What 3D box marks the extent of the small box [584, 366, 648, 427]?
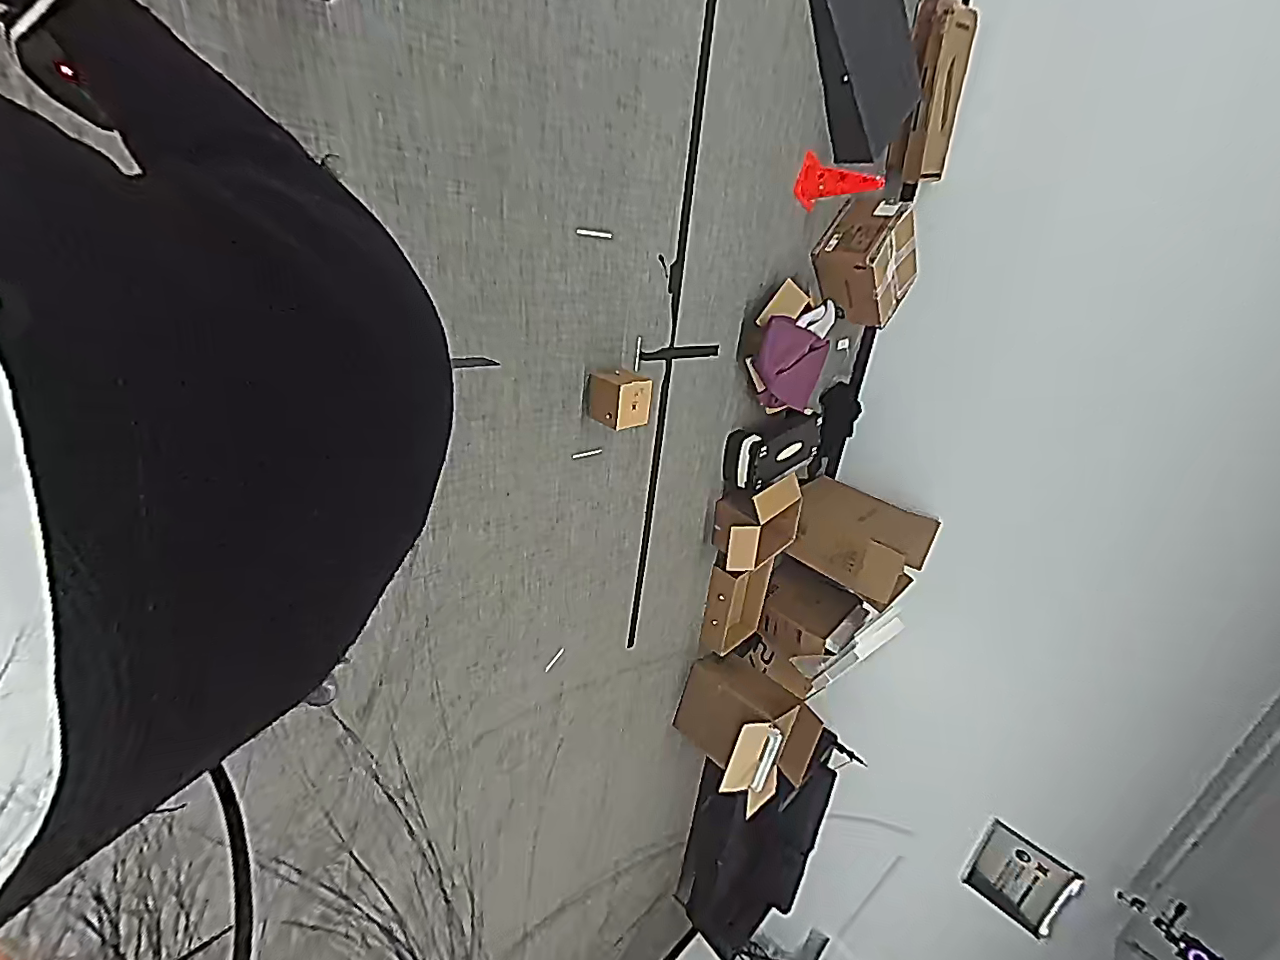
[{"bbox_3d":[-0.095,-0.320,2.044,0.168,0.176,0.179,-18,125,-42],"label":"small box"}]
